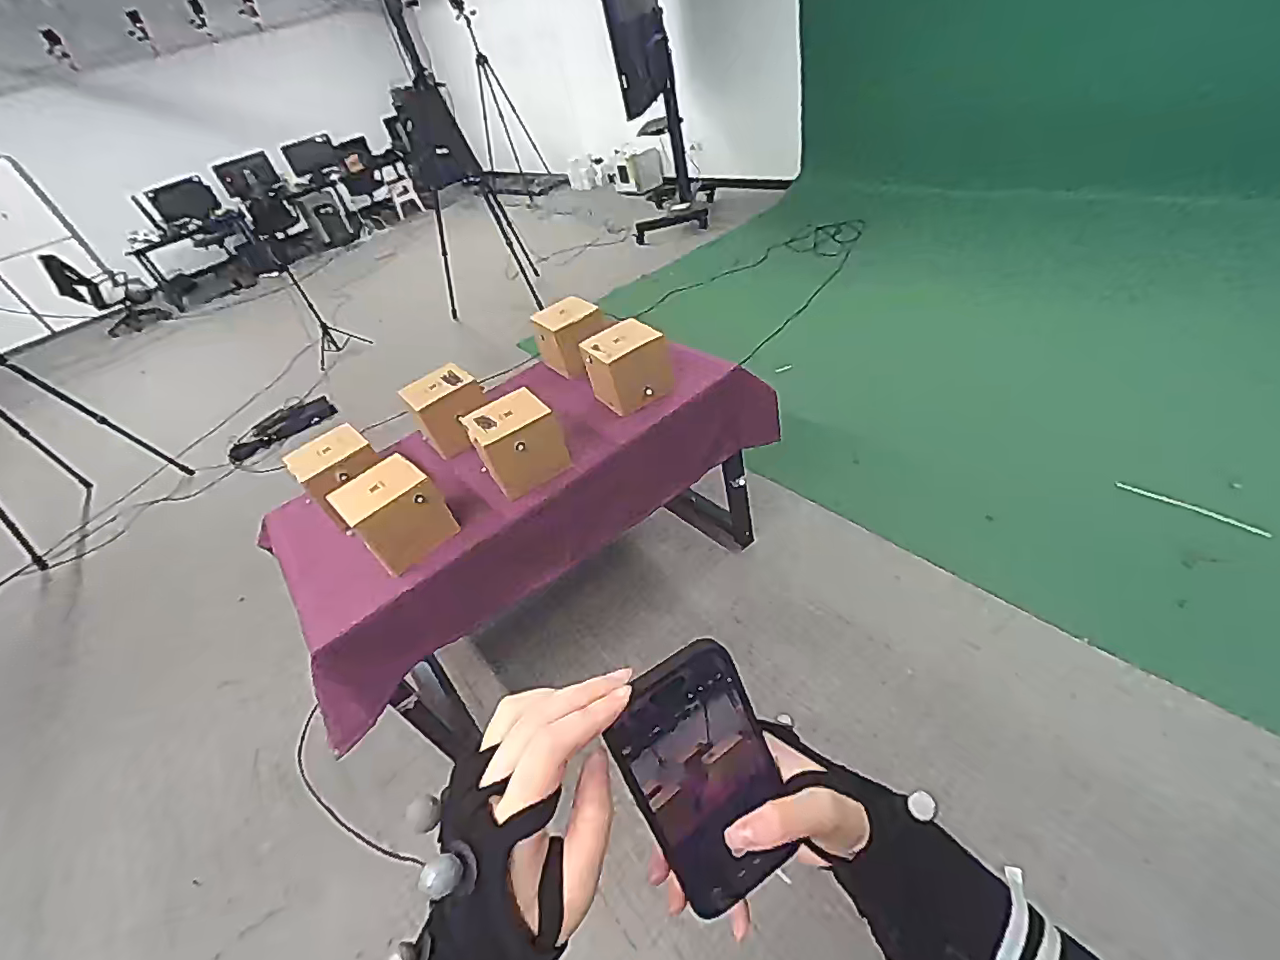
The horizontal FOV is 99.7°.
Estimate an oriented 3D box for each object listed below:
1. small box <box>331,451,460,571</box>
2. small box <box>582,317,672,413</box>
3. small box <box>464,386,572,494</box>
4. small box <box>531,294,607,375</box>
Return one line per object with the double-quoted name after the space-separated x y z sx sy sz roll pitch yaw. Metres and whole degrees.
-0.535 0.070 1.199 0.179 0.176 0.168 -39 45 -26 "small box"
-0.029 -0.309 1.456 0.179 0.176 0.168 -30 42 -16 "small box"
-0.289 -0.095 1.301 0.179 0.176 0.168 -31 42 -17 "small box"
-0.209 -0.448 1.673 0.168 0.176 0.179 -33 44 -18 "small box"
